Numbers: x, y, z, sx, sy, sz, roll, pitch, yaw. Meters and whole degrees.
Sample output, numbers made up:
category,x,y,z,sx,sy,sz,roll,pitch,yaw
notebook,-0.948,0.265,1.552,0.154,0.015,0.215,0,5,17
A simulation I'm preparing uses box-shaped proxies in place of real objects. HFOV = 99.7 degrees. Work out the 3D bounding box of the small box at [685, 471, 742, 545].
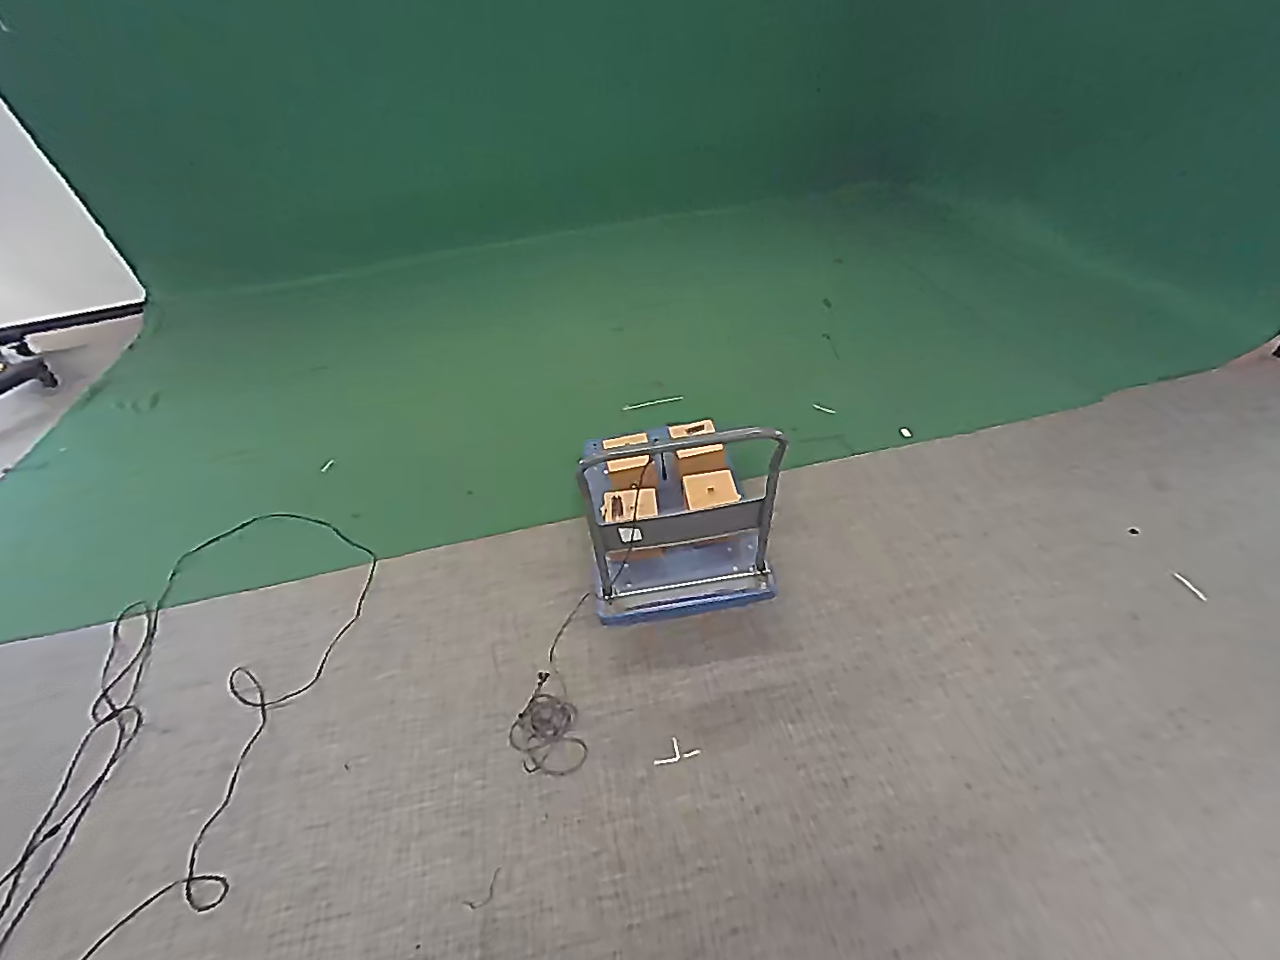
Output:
category,x,y,z,sx,sy,sz,roll,pitch,yaw
small box,0.245,0.097,1.843,0.168,0.176,0.179,-8,46,0

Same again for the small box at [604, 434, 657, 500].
category,x,y,z,sx,sy,sz,roll,pitch,yaw
small box,-0.033,-0.040,2.018,0.168,0.176,0.179,-11,45,-4

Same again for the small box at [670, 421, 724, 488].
category,x,y,z,sx,sy,sz,roll,pitch,yaw
small box,0.212,-0.092,2.034,0.168,0.176,0.179,-12,46,-3
